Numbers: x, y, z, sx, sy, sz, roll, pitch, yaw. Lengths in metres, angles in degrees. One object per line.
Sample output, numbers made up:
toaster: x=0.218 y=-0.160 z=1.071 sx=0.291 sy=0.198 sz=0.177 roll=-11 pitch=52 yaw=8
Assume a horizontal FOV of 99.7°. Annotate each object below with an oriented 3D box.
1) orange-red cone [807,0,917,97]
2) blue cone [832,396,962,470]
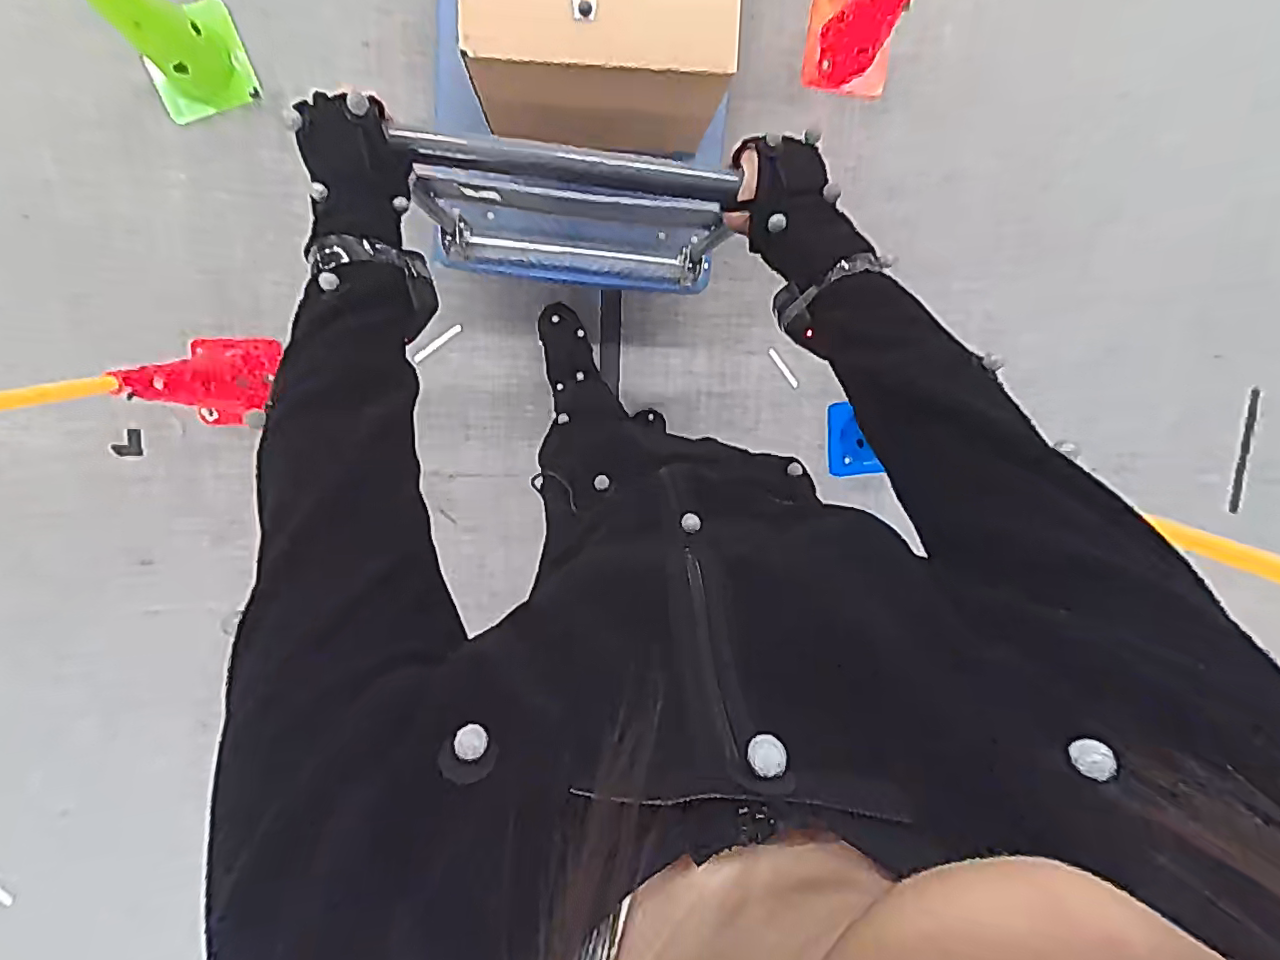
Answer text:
orange-red cone: x=0.515 y=-0.983 z=1.093 sx=0.199 sy=0.360 sz=0.198 roll=7 pitch=100 yaw=-8
blue cone: x=0.622 y=-0.098 z=1.280 sx=0.193 sy=0.380 sz=0.192 roll=-4 pitch=100 yaw=-5
